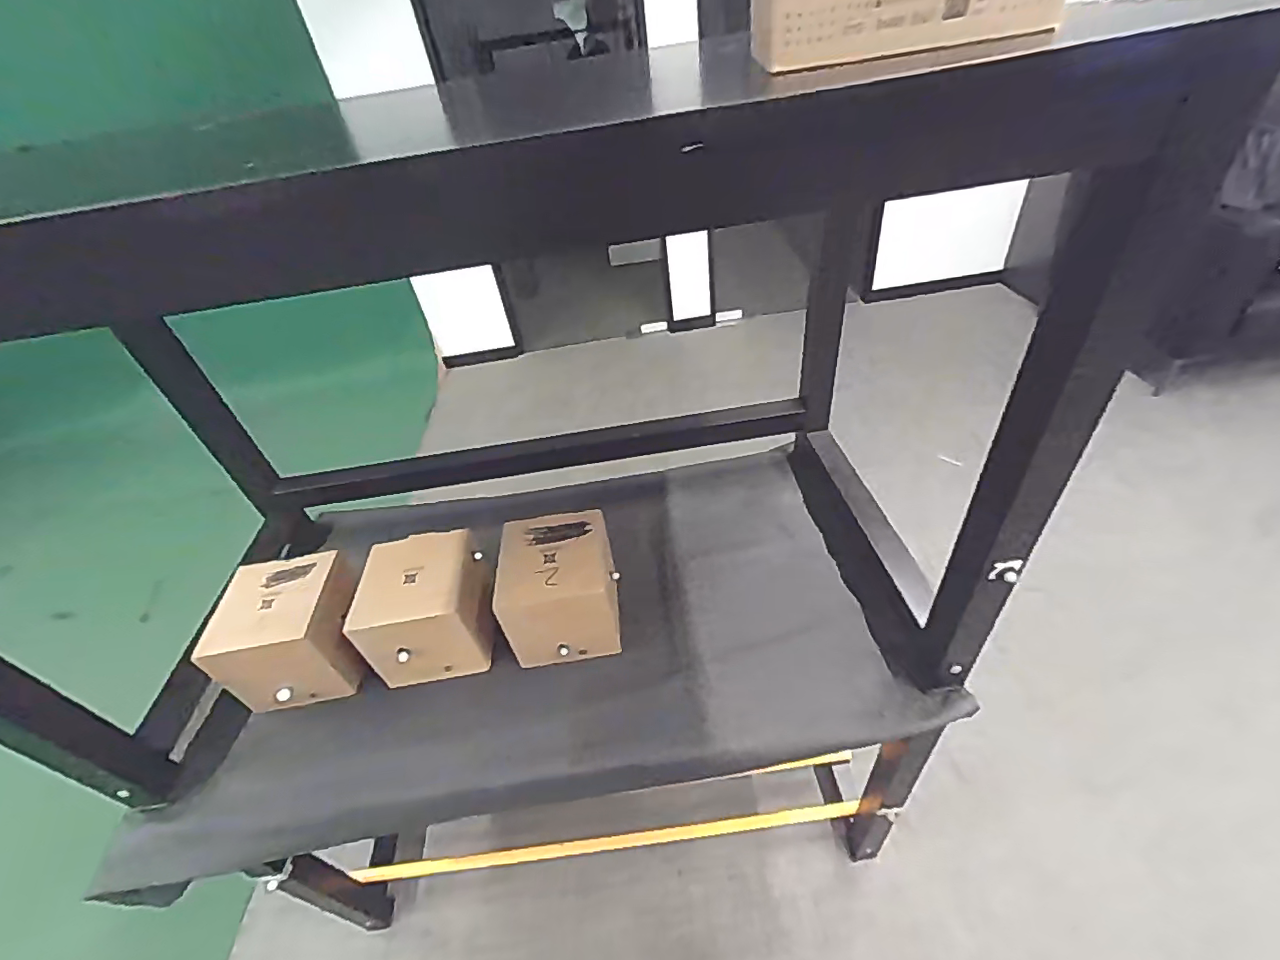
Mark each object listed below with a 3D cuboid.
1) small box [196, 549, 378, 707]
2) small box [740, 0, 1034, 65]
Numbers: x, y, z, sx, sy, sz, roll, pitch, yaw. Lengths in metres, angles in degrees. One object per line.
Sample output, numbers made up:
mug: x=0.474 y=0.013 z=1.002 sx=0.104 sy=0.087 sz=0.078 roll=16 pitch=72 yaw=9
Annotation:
small box: x=-0.560 y=0.243 z=0.892 sx=0.168 sy=0.176 sz=0.179 roll=-11 pitch=41 yaw=-1
small box: x=0.147 y=-0.375 z=0.335 sx=0.168 sy=0.176 sz=0.179 roll=-2 pitch=41 yaw=9
